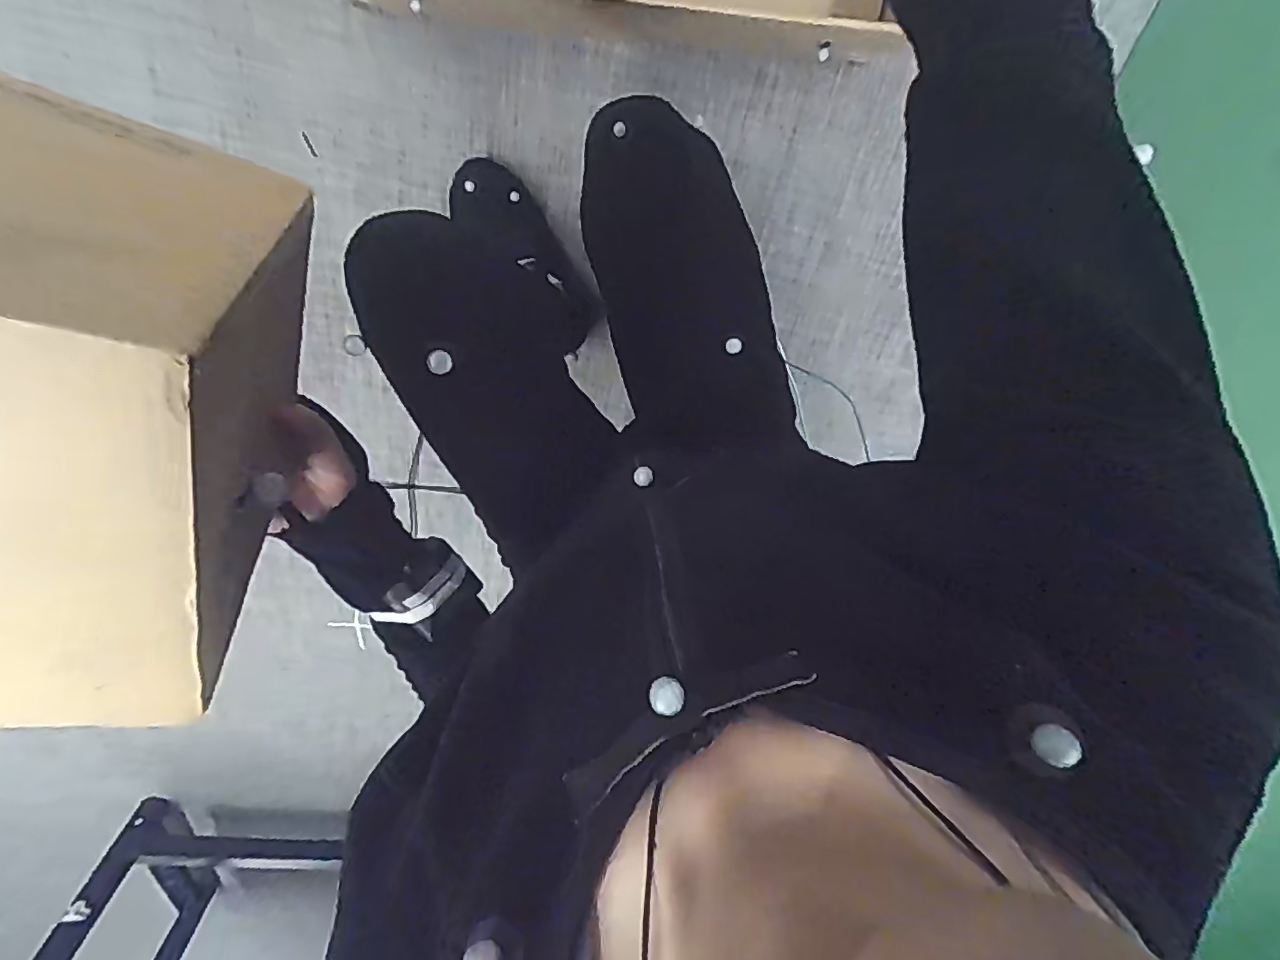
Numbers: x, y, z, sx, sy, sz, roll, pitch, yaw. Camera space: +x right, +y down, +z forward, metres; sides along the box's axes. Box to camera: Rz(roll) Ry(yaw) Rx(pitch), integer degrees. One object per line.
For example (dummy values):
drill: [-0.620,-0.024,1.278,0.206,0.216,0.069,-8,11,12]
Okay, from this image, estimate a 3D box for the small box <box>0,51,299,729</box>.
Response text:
small box: [-0.232,-0.035,0.187,0.168,0.176,0.179,10,125,-28]
